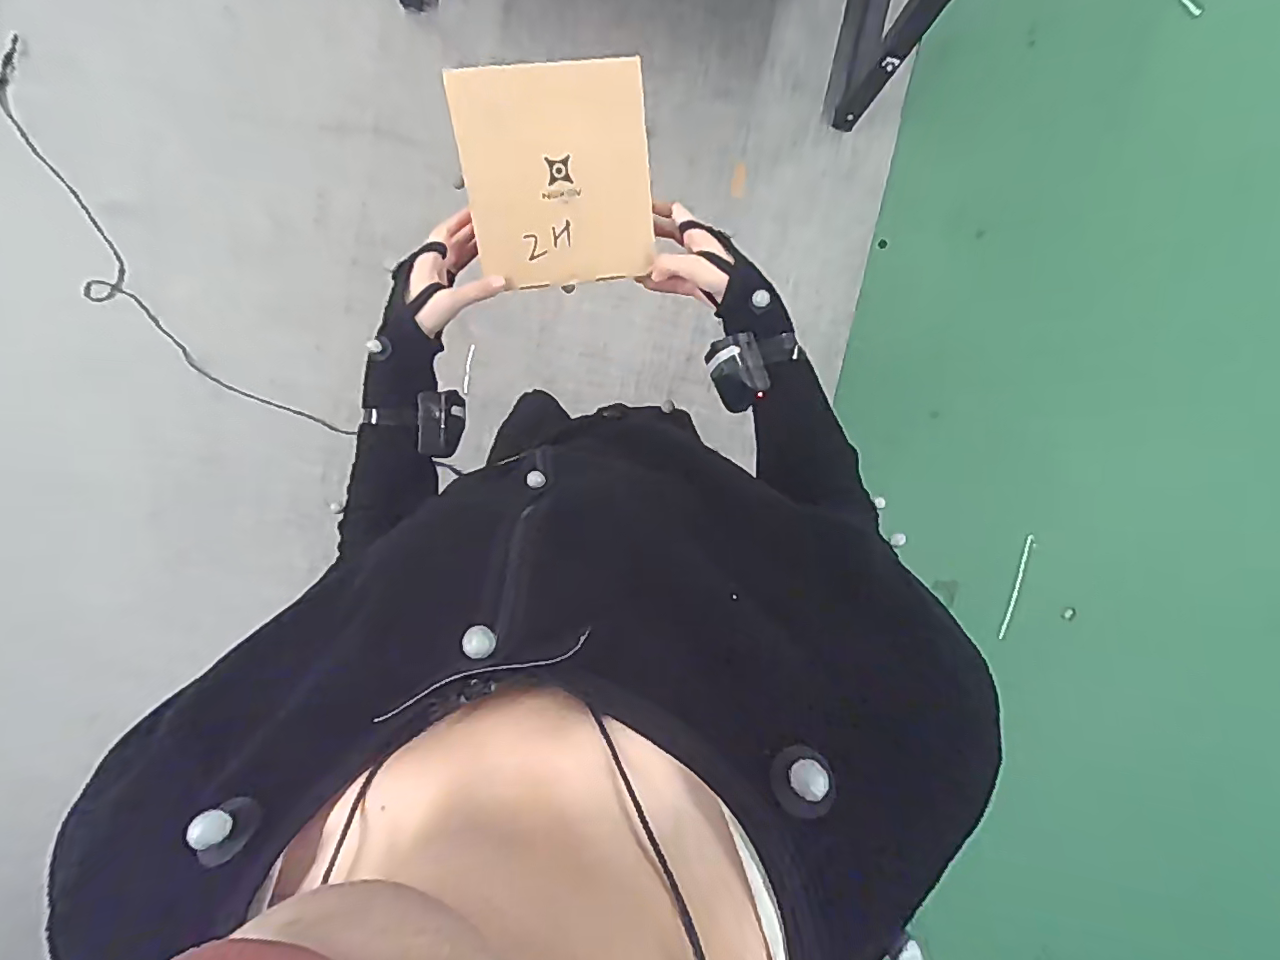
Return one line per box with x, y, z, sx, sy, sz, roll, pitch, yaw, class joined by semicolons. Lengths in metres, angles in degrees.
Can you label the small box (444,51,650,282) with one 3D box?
-0.089;-0.301;0.549;0.168;0.176;0.179;-7;114;-7;small box
